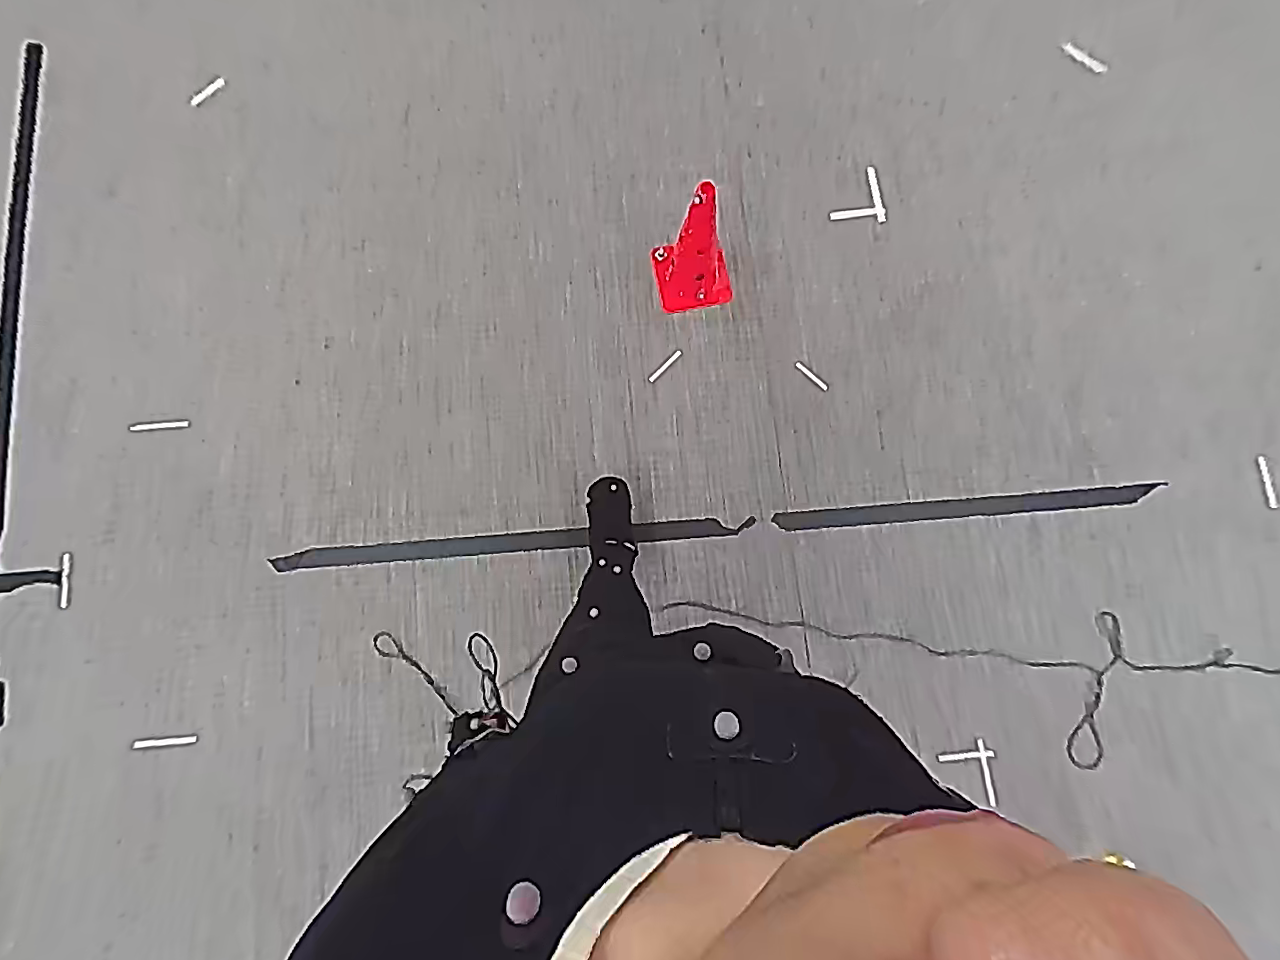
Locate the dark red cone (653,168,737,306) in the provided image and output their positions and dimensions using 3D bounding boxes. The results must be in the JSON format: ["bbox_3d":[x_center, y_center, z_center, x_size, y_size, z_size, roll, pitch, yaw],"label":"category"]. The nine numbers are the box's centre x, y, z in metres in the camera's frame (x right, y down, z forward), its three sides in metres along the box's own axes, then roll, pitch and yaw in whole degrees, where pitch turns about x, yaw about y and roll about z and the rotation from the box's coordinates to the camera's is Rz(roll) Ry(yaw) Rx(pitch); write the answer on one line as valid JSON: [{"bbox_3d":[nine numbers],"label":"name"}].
[{"bbox_3d":[0.146,-0.592,1.289,0.202,0.394,0.201,-13,83,-2],"label":"dark red cone"}]
